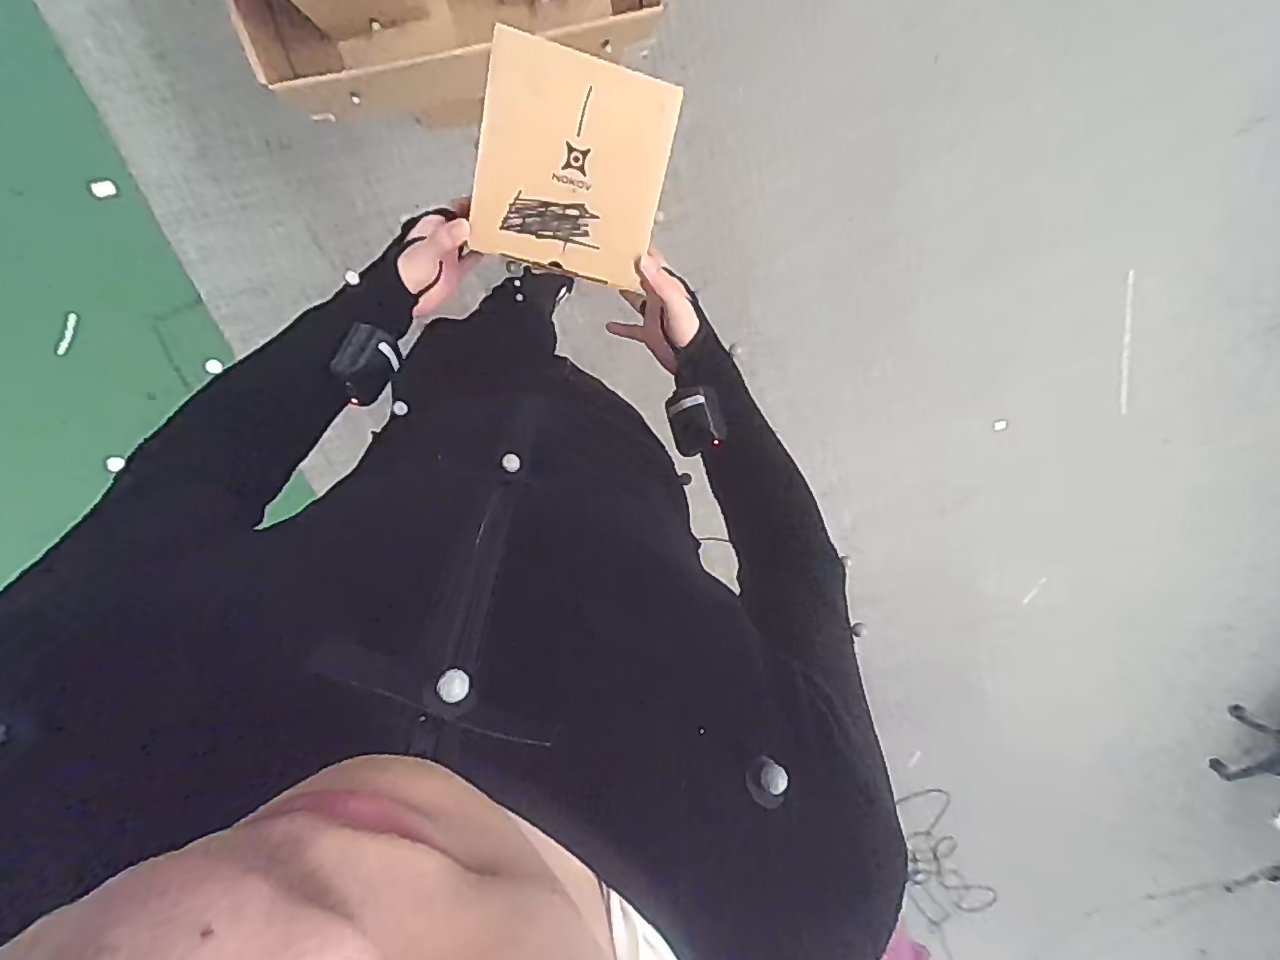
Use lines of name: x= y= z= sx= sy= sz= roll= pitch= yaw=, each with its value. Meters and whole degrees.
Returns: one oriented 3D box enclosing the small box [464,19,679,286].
small box: x=-0.073 y=-0.312 z=0.558 sx=0.168 sy=0.176 sz=0.179 roll=10 pitch=109 yaw=-12
